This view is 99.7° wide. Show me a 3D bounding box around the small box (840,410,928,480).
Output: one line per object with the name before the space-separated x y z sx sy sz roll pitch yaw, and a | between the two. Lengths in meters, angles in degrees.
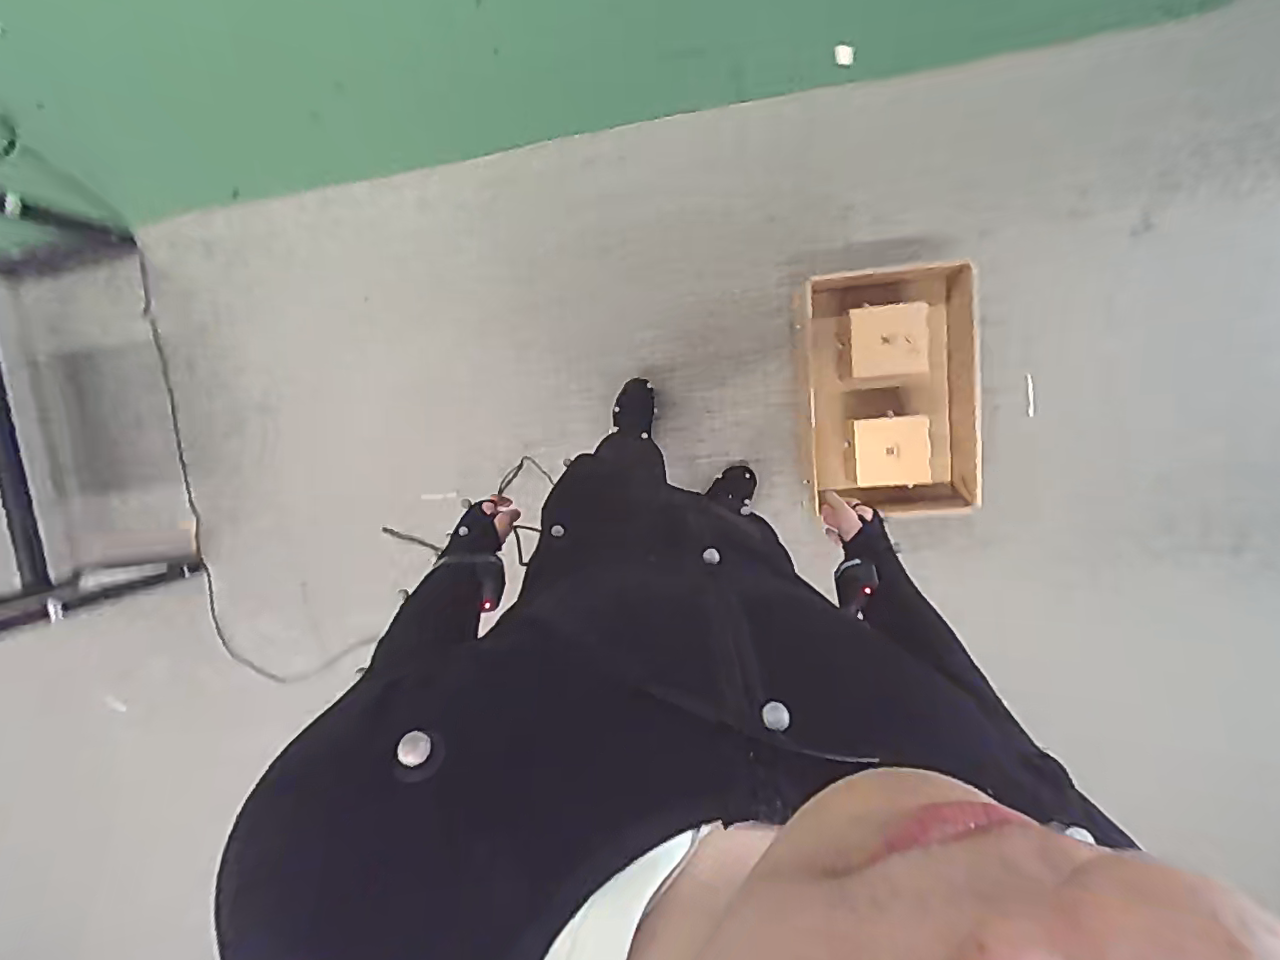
small box | 0.631 -0.092 1.418 0.179 0.176 0.168 -5 95 8

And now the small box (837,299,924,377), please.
small box | 0.608 -0.357 1.386 0.179 0.176 0.168 -3 98 9
